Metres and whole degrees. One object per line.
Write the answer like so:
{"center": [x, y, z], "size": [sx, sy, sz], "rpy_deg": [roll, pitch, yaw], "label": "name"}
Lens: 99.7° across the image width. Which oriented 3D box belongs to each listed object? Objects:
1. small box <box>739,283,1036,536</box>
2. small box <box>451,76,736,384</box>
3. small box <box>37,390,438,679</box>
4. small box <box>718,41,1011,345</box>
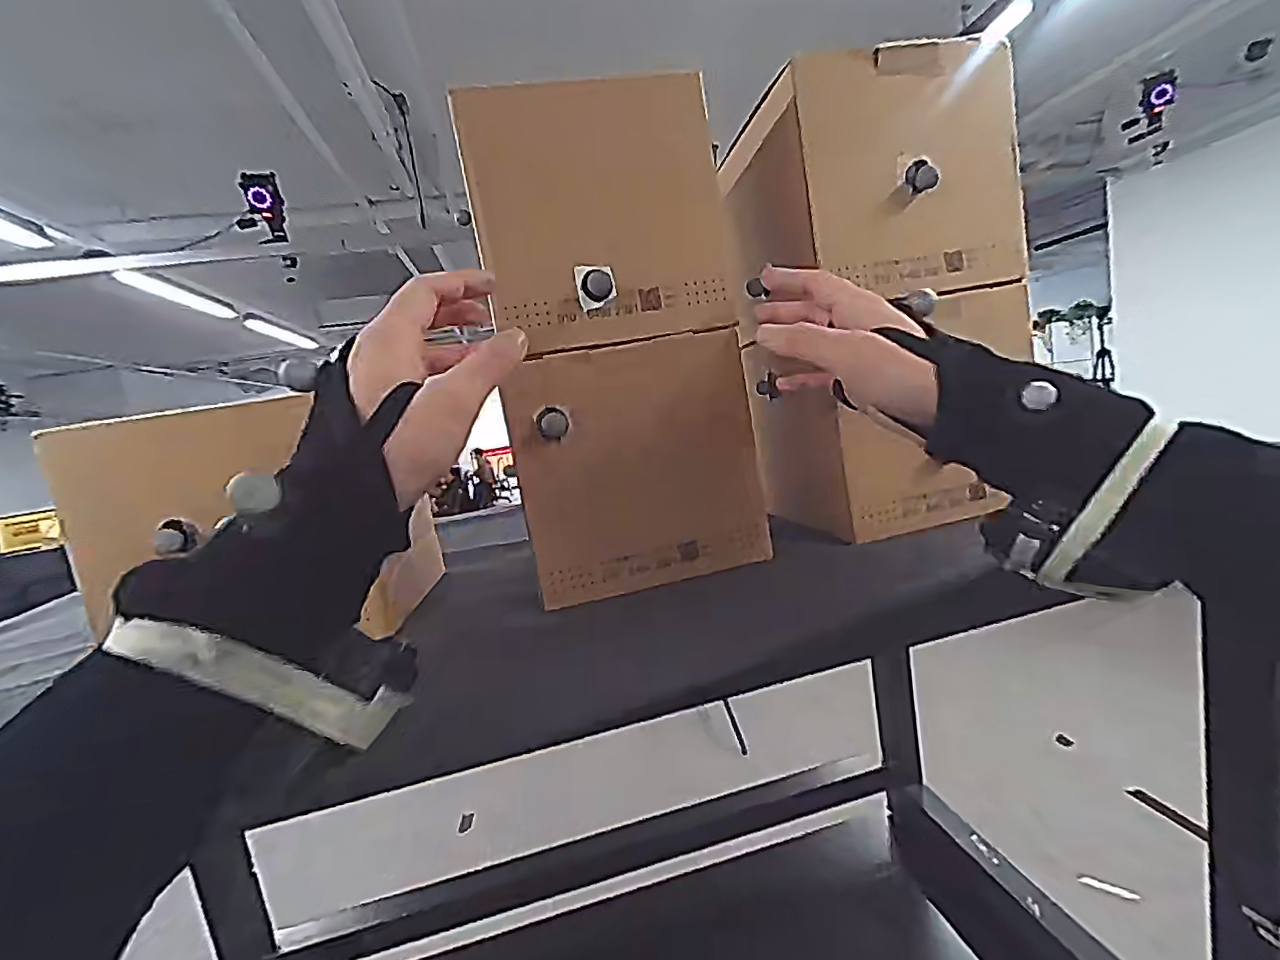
{"center": [0.202, -0.056, 0.476], "size": [0.168, 0.176, 0.179], "rpy_deg": [-12, 7, -8], "label": "small box"}
{"center": [-0.039, -0.175, 0.431], "size": [0.168, 0.176, 0.179], "rpy_deg": [-12, 7, -11], "label": "small box"}
{"center": [-0.266, 0.034, 0.411], "size": [0.168, 0.176, 0.179], "rpy_deg": [-10, 6, -8], "label": "small box"}
{"center": [0.175, -0.217, 0.456], "size": [0.168, 0.176, 0.179], "rpy_deg": [-10, 8, -8], "label": "small box"}
